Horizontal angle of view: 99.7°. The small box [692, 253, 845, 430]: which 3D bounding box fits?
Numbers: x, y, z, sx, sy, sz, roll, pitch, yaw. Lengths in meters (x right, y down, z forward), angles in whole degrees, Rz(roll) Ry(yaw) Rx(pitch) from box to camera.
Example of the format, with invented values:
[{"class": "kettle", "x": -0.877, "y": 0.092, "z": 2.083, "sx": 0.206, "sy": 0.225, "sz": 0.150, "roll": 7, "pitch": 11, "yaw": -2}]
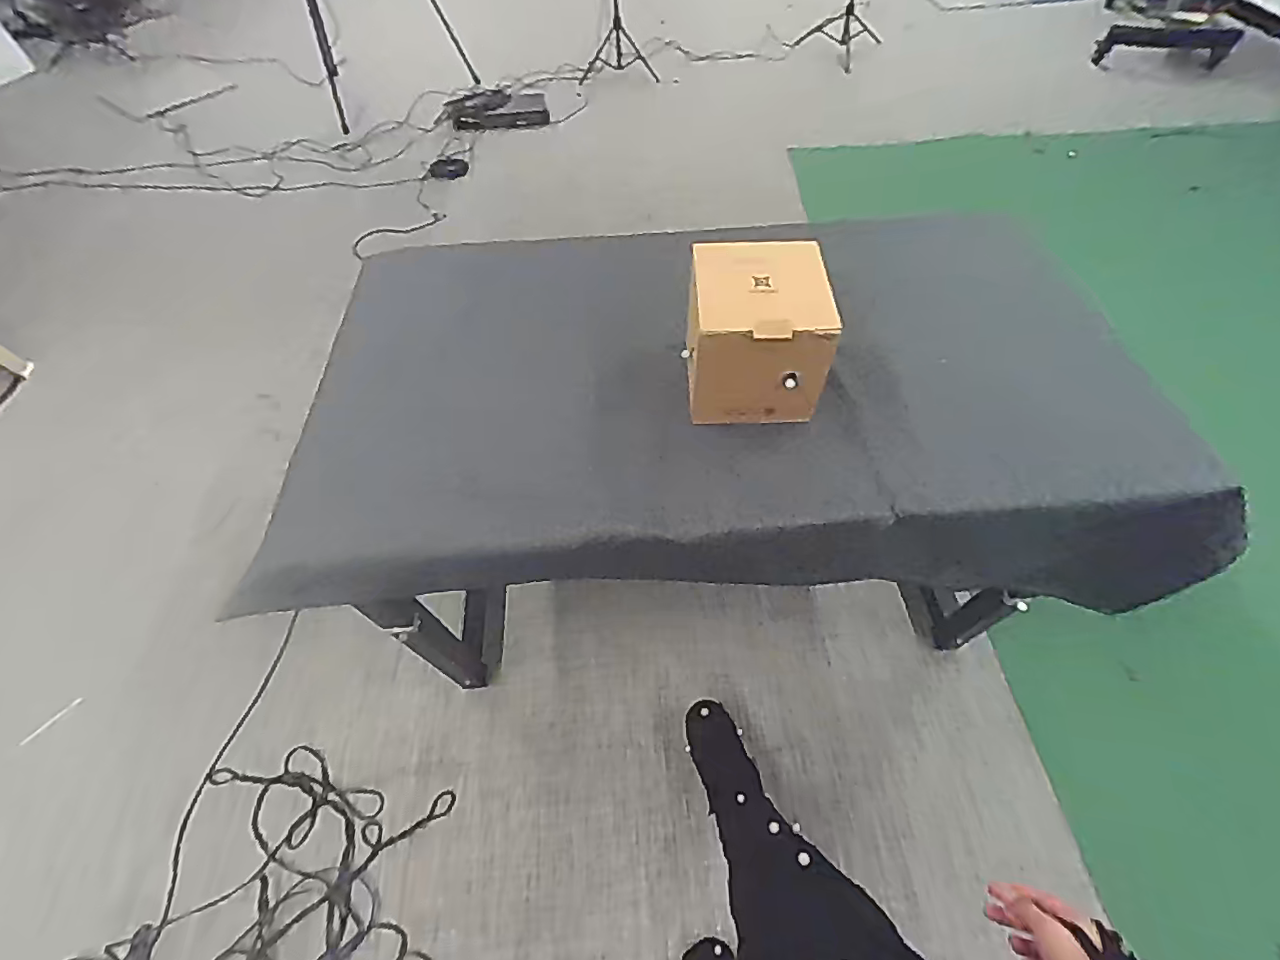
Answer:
[{"class": "small box", "x": 0.159, "y": -0.182, "z": 0.734, "sx": 0.168, "sy": 0.176, "sz": 0.179, "roll": 0, "pitch": 54, "yaw": 1}]
